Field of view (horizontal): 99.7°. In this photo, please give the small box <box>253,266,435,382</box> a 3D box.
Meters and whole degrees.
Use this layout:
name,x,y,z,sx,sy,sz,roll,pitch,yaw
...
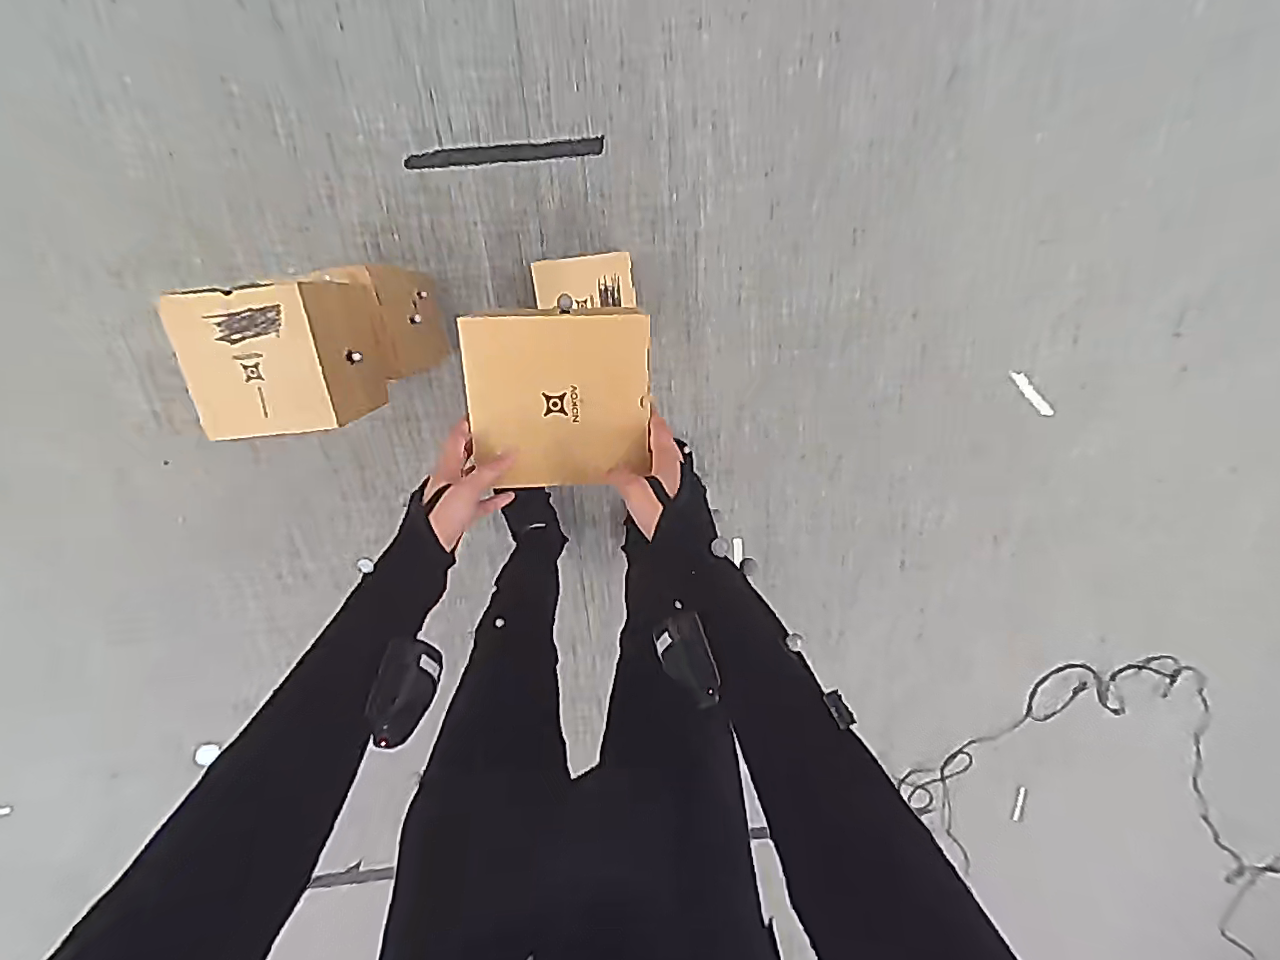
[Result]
name,x,y,z,sx,sy,sz,roll,pitch,yaw
small box,-0.457,-0.241,0.866,0.179,0.176,0.168,-9,110,0

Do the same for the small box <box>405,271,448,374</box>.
name,x,y,z,sx,sy,sz,roll,pitch,yaw
small box,-0.481,-0.290,1.021,0.168,0.176,0.179,-8,110,-1

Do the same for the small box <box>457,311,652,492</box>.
name,x,y,z,sx,sy,sz,roll,pitch,yaw
small box,-0.080,-0.092,0.582,0.179,0.176,0.168,-3,109,-4

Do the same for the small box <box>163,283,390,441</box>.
name,x,y,z,sx,sy,sz,roll,pitch,yaw
small box,-0.460,-0.162,0.719,0.168,0.176,0.179,-5,110,0
